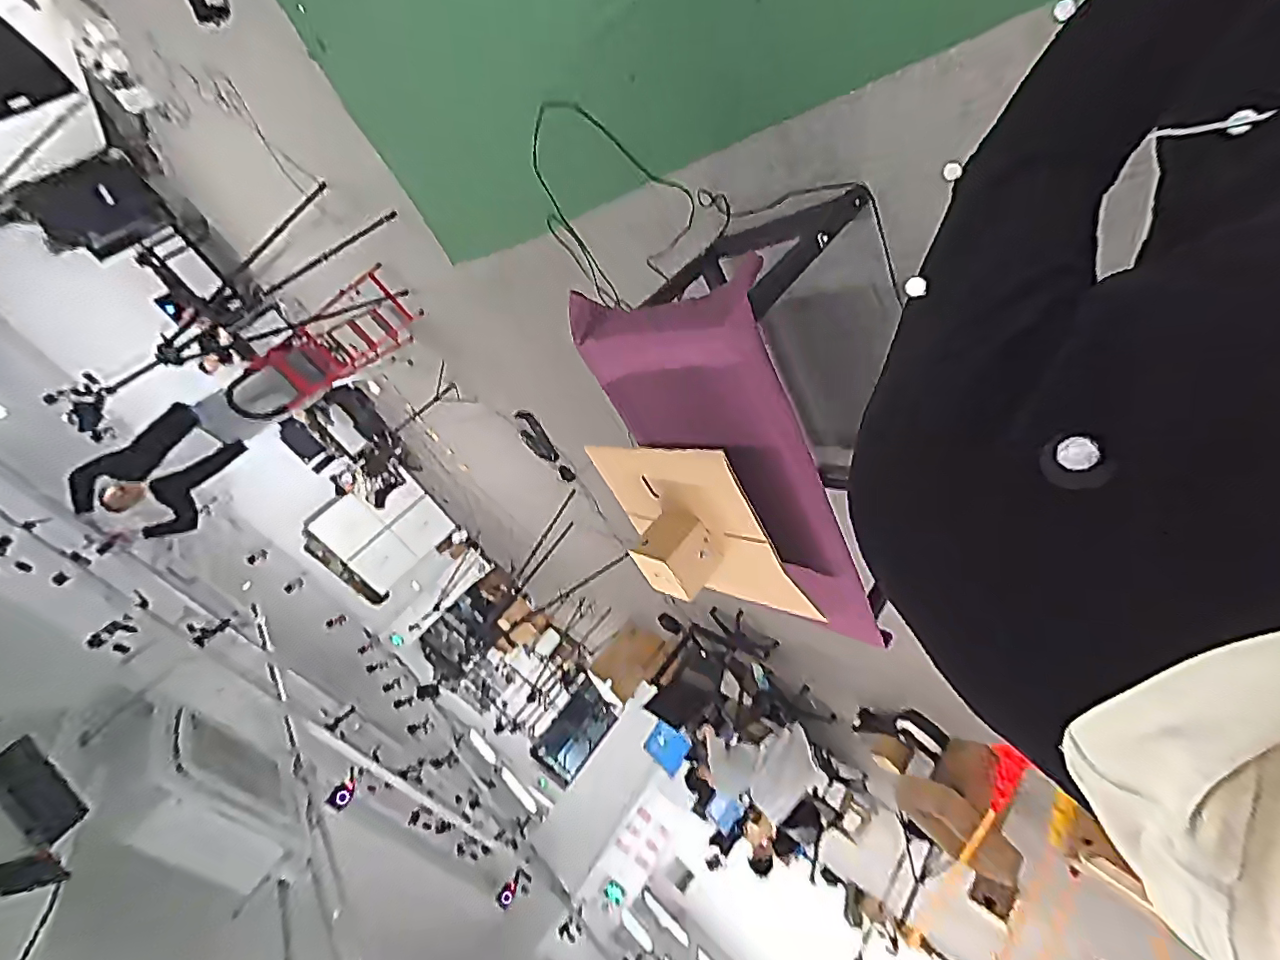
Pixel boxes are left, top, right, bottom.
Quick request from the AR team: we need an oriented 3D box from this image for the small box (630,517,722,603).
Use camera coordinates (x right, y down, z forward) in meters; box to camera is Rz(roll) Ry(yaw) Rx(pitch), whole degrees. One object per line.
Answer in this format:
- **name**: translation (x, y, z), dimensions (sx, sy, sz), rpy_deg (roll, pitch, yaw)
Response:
- **small box**: translation (0.109, 0.227, 1.588), dimensions (0.179, 0.176, 0.168), rpy_deg (8, 137, 50)
